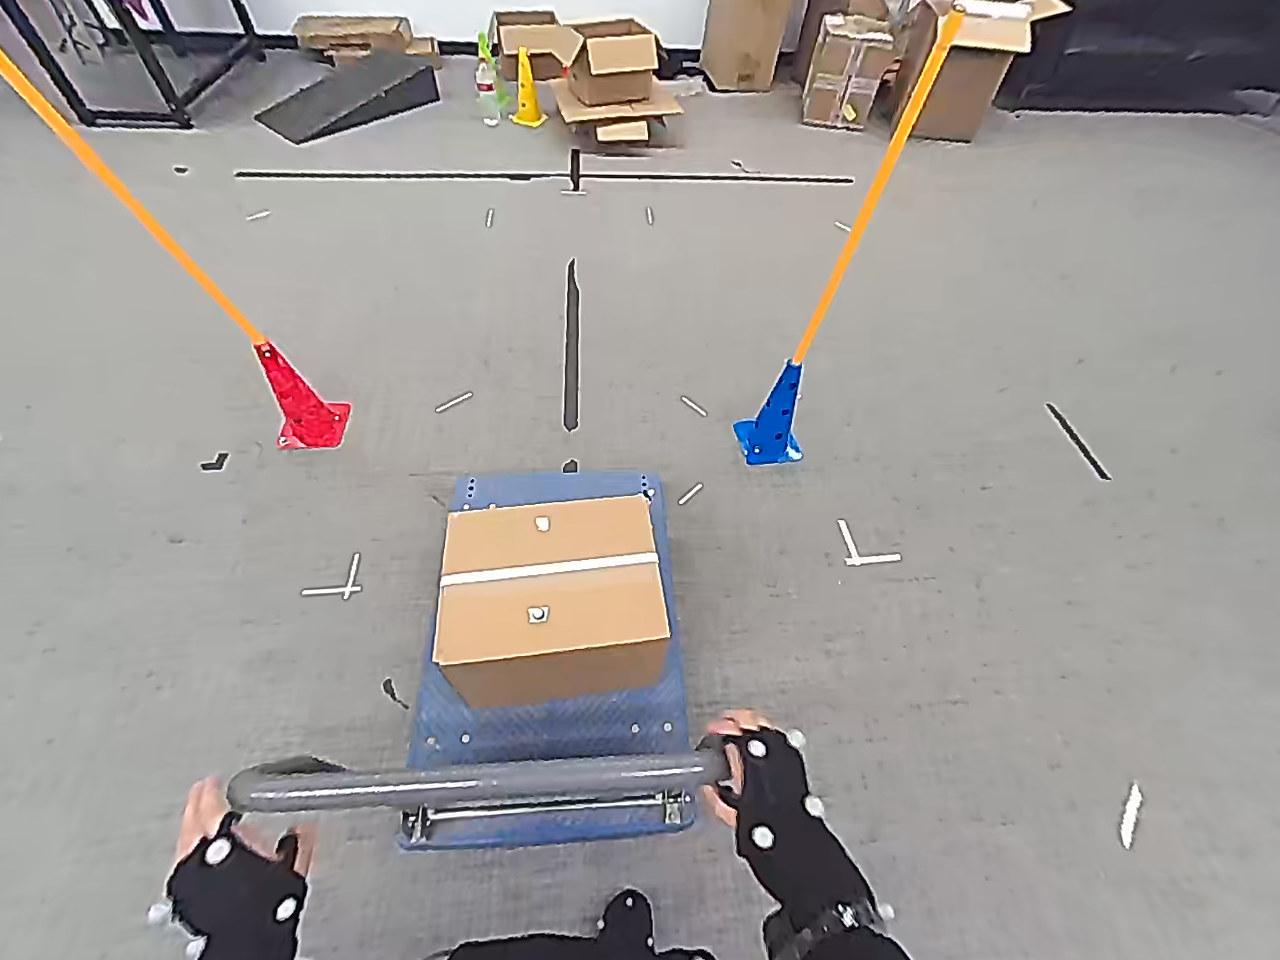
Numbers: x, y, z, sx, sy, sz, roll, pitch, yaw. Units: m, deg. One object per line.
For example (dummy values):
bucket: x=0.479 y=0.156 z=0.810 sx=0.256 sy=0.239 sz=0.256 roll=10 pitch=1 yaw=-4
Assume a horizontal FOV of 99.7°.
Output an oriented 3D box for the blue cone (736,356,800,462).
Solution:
blue cone: x=0.455 y=-0.239 z=1.760 sx=0.193 sy=0.380 sz=0.192 roll=-5 pitch=53 yaw=-8
